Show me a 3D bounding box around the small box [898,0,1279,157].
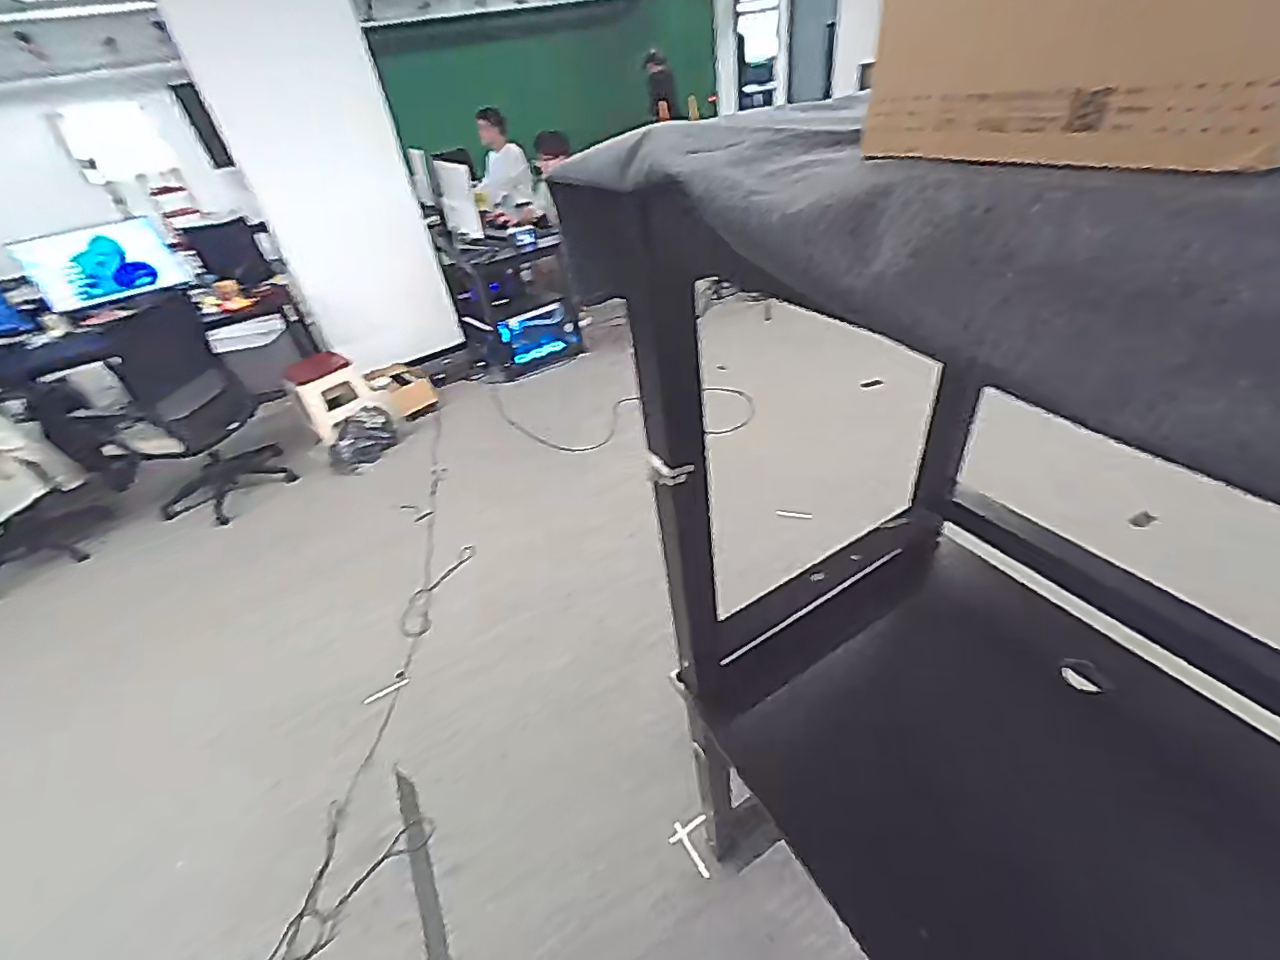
[{"bbox_3d":[0.231,-0.241,0.218,0.179,0.176,0.168,-27,42,-23],"label":"small box"}]
